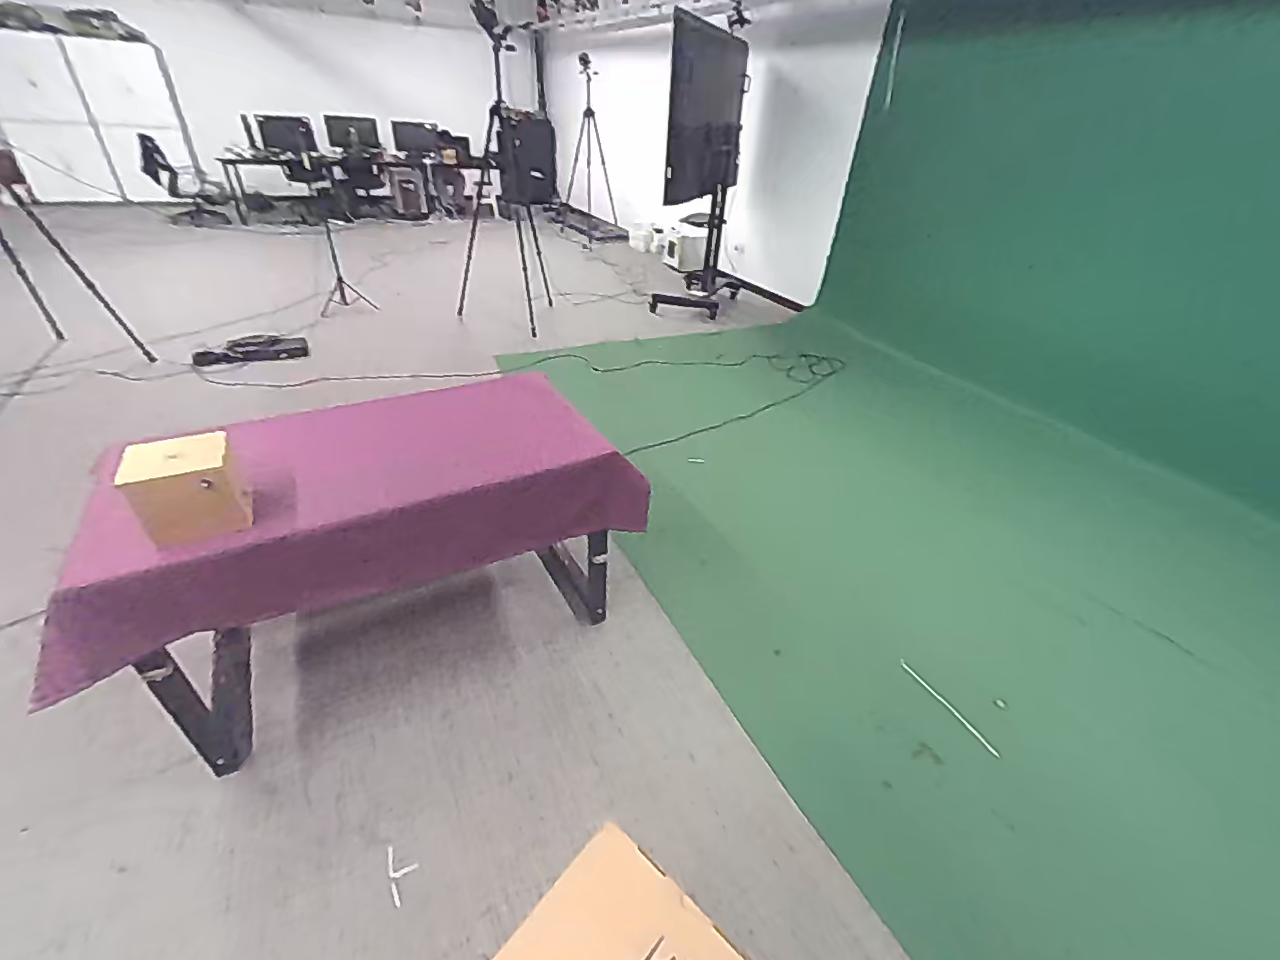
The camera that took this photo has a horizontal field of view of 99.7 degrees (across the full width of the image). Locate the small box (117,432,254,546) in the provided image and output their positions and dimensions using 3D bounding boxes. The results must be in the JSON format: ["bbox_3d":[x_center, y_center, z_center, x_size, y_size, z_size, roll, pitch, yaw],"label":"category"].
[{"bbox_3d":[-0.965,0.019,1.166,0.179,0.176,0.168,-14,38,-27],"label":"small box"}]
